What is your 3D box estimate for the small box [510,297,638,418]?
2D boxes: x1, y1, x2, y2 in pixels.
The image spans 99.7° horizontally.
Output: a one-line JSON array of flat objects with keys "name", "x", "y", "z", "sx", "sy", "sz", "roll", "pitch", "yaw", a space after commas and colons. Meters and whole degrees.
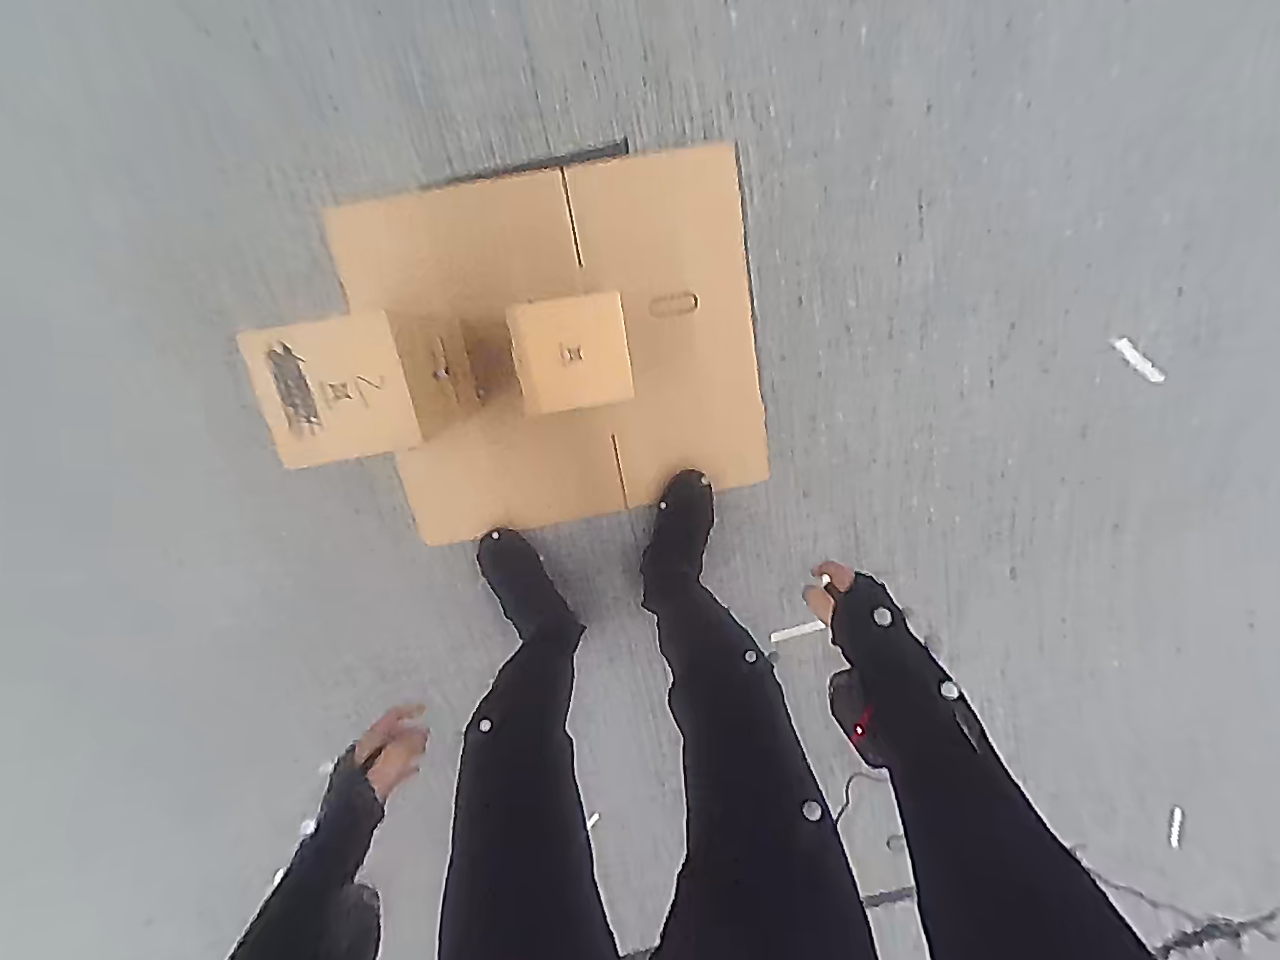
[{"name": "small box", "x": -0.108, "y": -0.209, "z": 0.905, "sx": 0.179, "sy": 0.176, "sz": 0.168, "roll": -10, "pitch": 106, "yaw": -3}]

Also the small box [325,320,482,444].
[{"name": "small box", "x": -0.370, "y": -0.168, "z": 0.889, "sx": 0.179, "sy": 0.176, "sz": 0.168, "roll": -11, "pitch": 106, "yaw": -1}]
